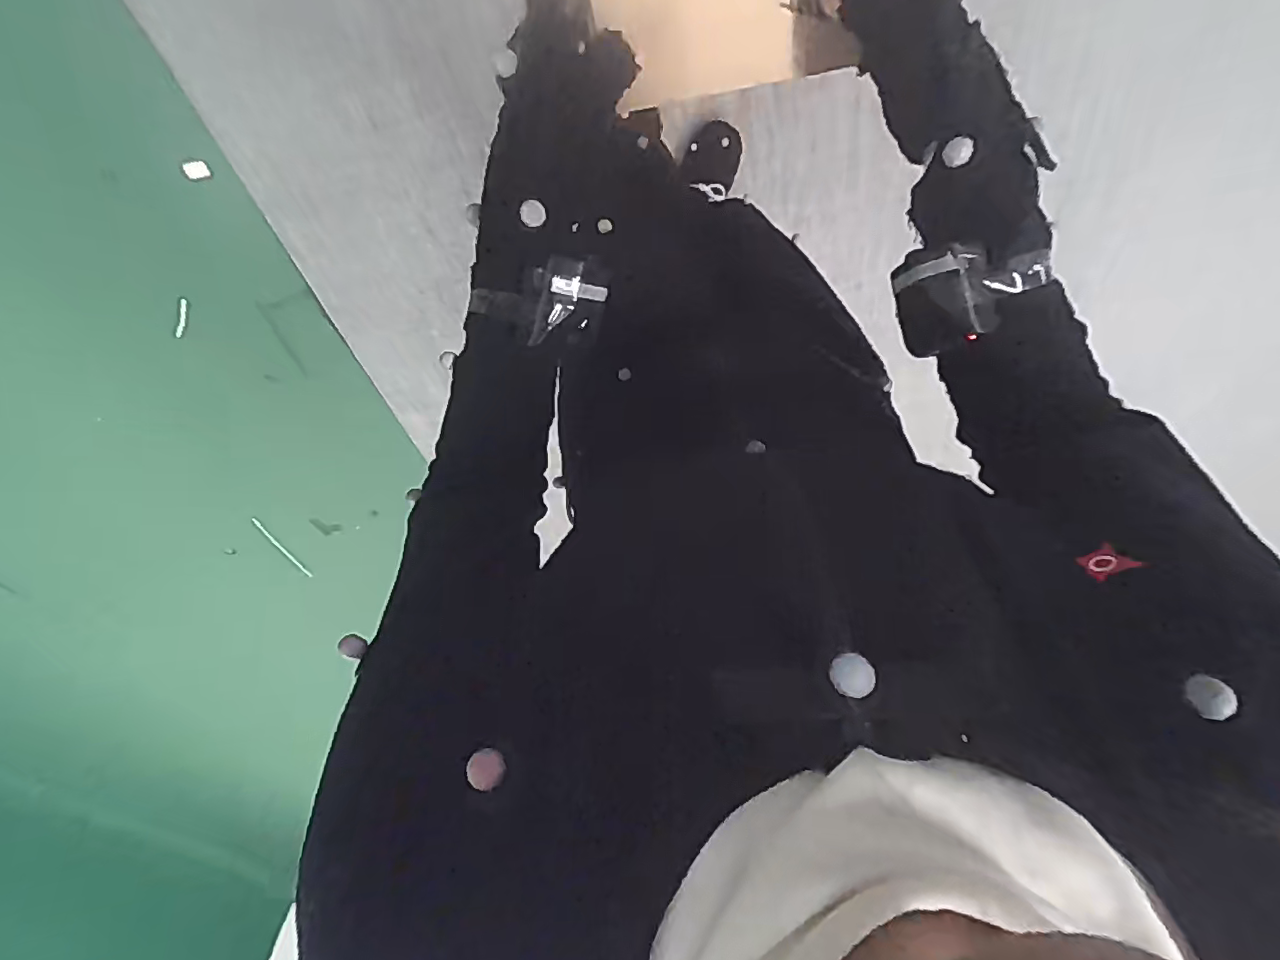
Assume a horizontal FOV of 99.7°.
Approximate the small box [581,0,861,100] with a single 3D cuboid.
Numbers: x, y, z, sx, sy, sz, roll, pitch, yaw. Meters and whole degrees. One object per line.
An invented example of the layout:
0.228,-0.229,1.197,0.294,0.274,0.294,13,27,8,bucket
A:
0.042,-0.383,0.359,0.179,0.176,0.168,-8,139,0,small box
